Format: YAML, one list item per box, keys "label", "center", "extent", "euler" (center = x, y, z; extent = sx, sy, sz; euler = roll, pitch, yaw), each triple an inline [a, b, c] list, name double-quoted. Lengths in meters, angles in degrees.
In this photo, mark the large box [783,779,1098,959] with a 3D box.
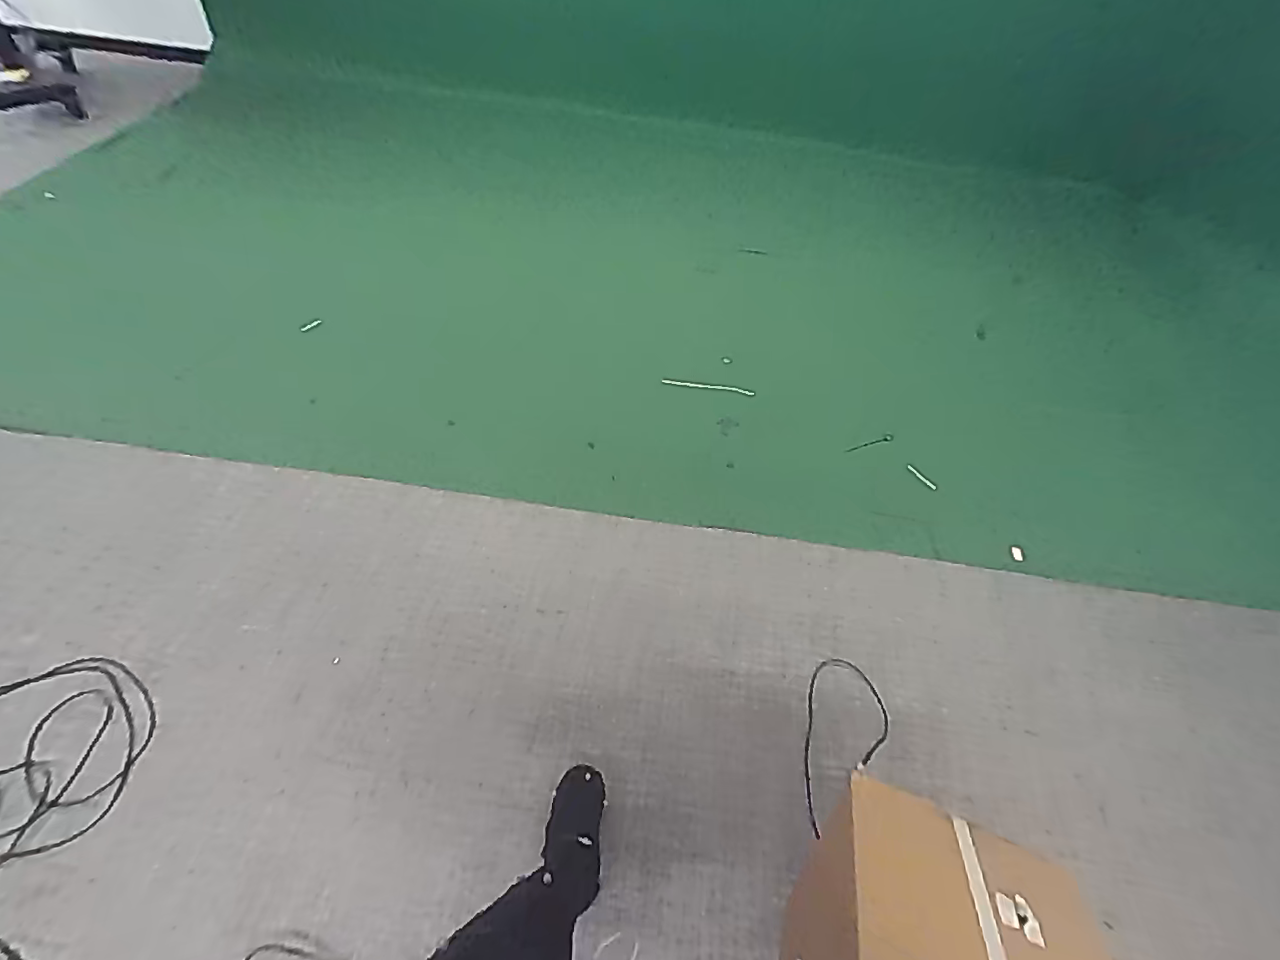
- label: "large box"
  center: [0.368, 0.698, 0.679]
  extent: [0.320, 0.320, 0.408]
  euler: [22, 17, 15]
